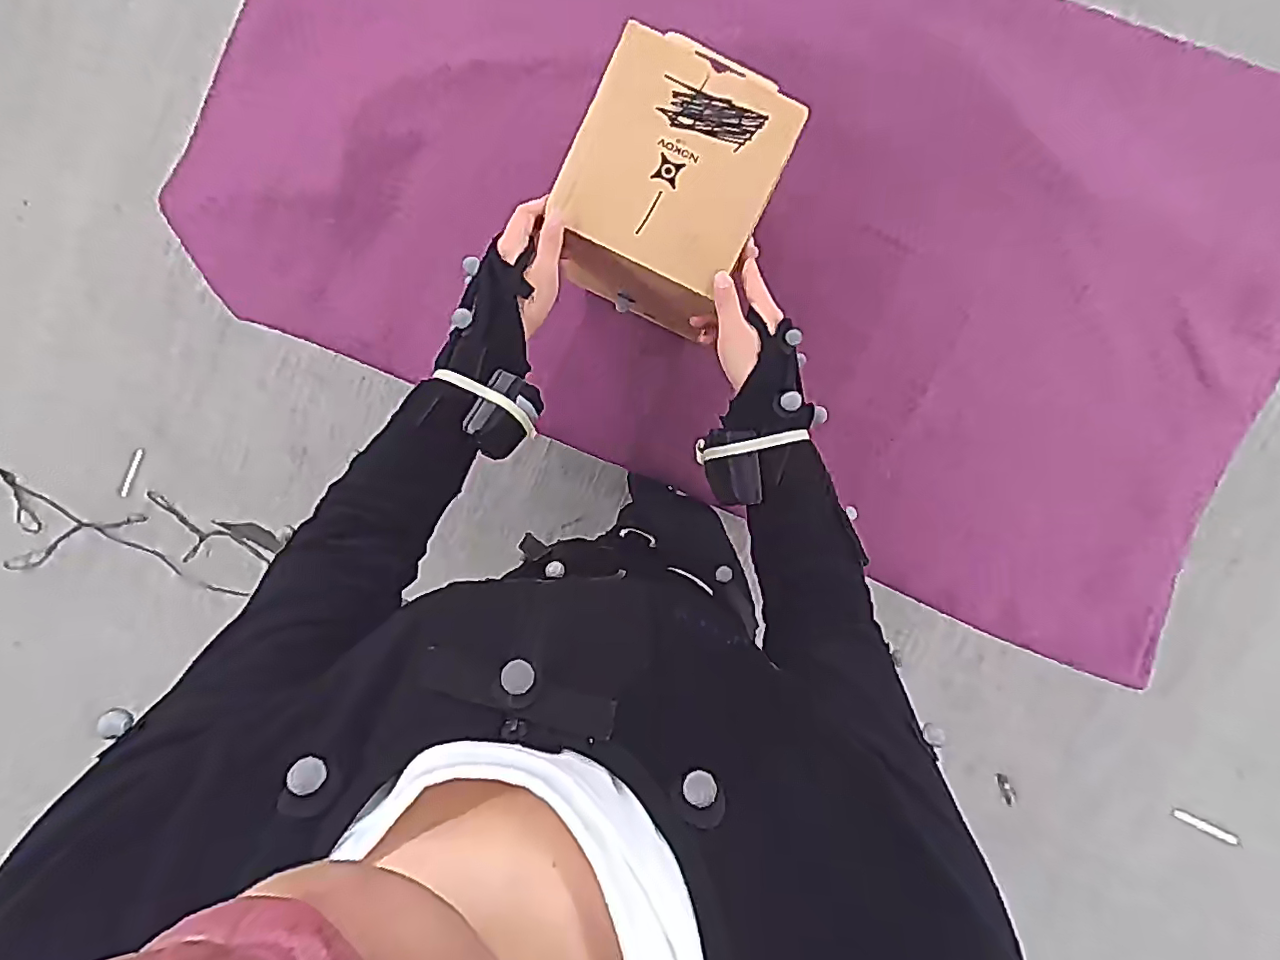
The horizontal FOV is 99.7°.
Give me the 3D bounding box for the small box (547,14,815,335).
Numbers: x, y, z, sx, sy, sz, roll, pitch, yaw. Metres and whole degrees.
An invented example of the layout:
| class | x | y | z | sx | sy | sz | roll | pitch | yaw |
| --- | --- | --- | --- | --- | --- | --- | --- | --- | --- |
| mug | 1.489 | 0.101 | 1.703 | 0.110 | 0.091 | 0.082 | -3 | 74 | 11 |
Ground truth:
| class | x | y | z | sx | sy | sz | roll | pitch | yaw |
| --- | --- | --- | --- | --- | --- | --- | --- | --- | --- |
| small box | 0.032 | -0.265 | 0.516 | 0.168 | 0.176 | 0.179 | 27 | 93 | -1 |
